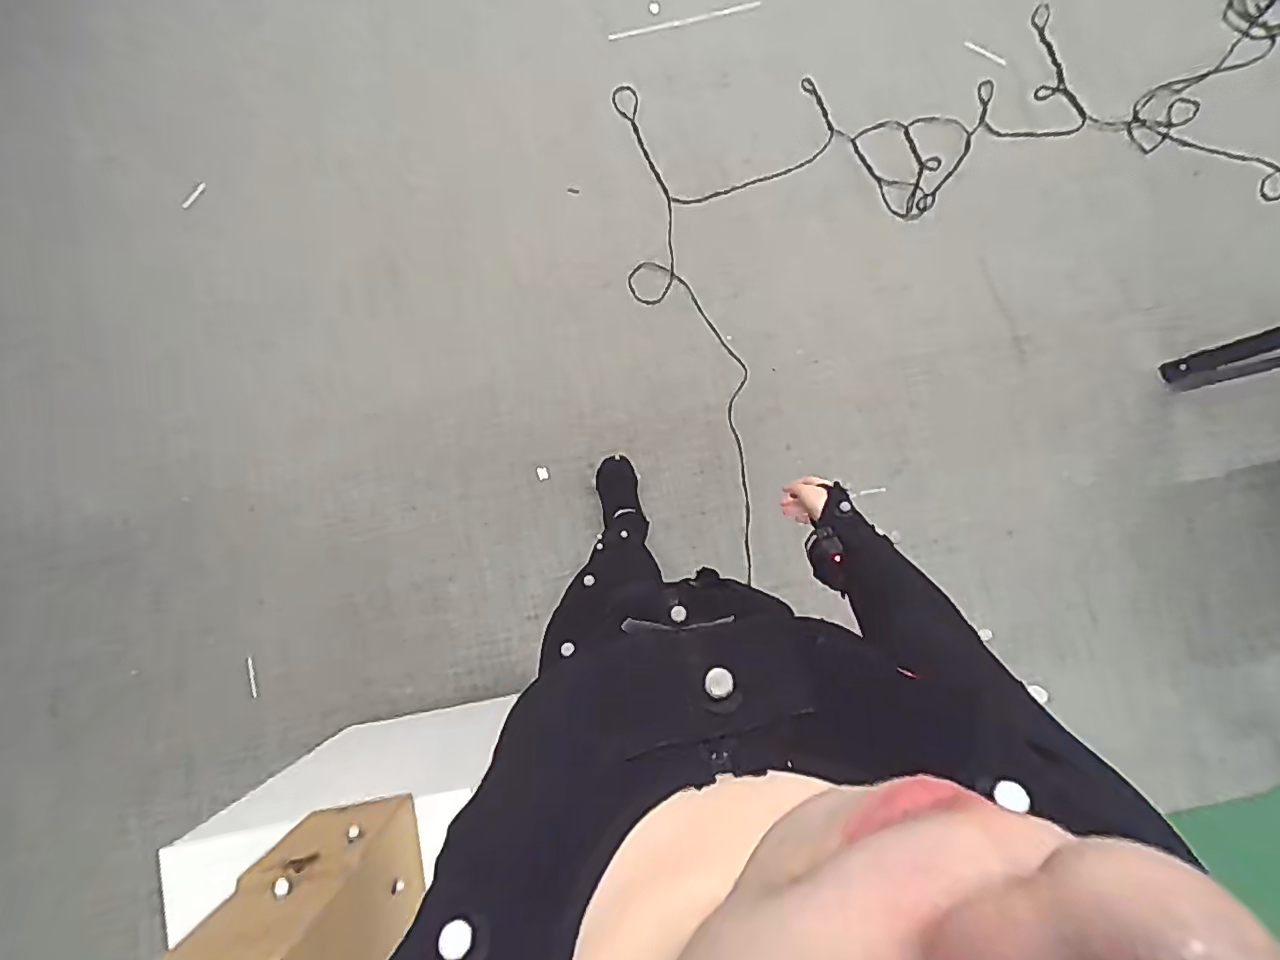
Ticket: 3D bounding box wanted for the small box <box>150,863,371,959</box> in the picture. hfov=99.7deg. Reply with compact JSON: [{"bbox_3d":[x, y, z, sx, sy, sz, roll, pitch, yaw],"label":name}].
[{"bbox_3d":[-0.418,0.573,0.595,0.168,0.176,0.179,-11,85,-1],"label":"small box"}]
